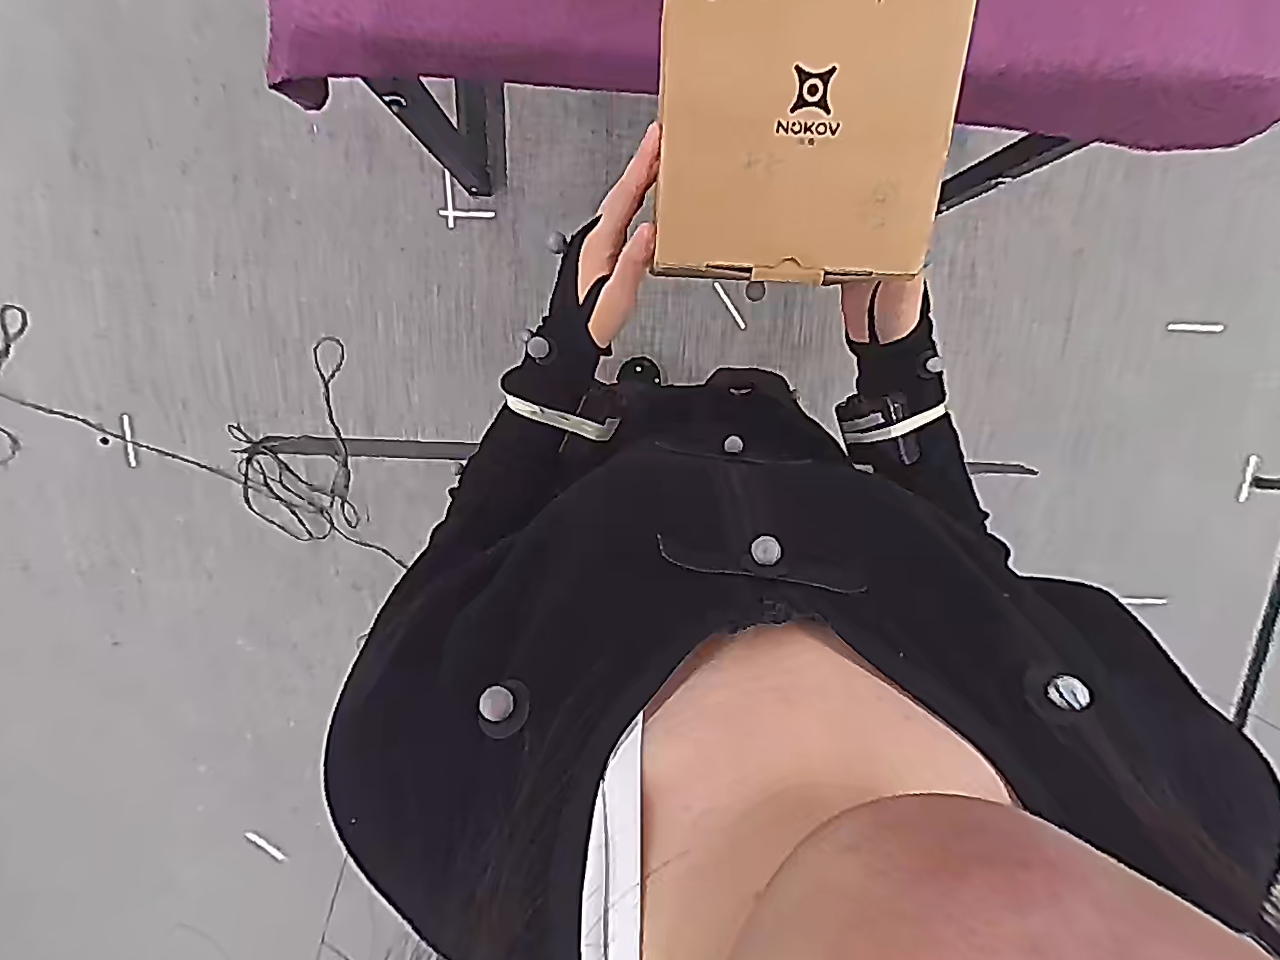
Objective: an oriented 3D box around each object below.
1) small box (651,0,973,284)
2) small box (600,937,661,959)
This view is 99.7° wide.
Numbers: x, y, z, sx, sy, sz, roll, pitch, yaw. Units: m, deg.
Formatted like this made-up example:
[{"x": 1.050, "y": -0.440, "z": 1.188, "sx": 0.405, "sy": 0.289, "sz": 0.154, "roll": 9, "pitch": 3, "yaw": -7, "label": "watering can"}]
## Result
[{"x": 0.096, "y": -0.238, "z": 0.387, "sx": 0.168, "sy": 0.176, "sz": 0.179, "roll": 3, "pitch": 110, "yaw": -1, "label": "small box"}, {"x": -0.023, "y": 1.366, "z": 1.433, "sx": 0.168, "sy": 0.176, "sz": 0.179, "roll": -1, "pitch": 102, "yaw": -2, "label": "small box"}]
